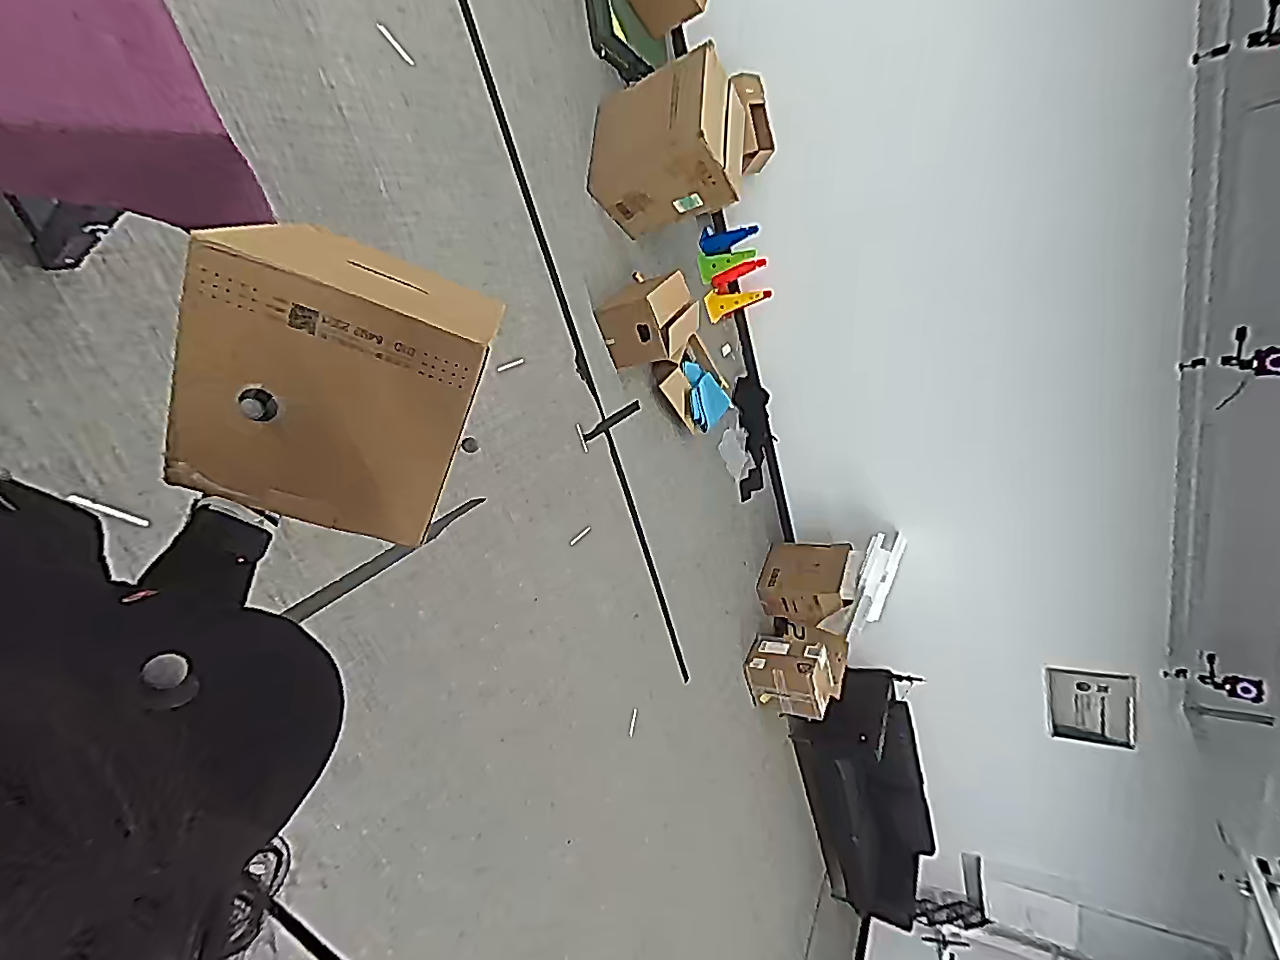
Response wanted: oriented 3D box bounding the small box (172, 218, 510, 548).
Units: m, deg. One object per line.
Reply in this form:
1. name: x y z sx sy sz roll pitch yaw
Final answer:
1. small box: -0.207 -0.080 0.413 0.168 0.176 0.179 20 22 -20
